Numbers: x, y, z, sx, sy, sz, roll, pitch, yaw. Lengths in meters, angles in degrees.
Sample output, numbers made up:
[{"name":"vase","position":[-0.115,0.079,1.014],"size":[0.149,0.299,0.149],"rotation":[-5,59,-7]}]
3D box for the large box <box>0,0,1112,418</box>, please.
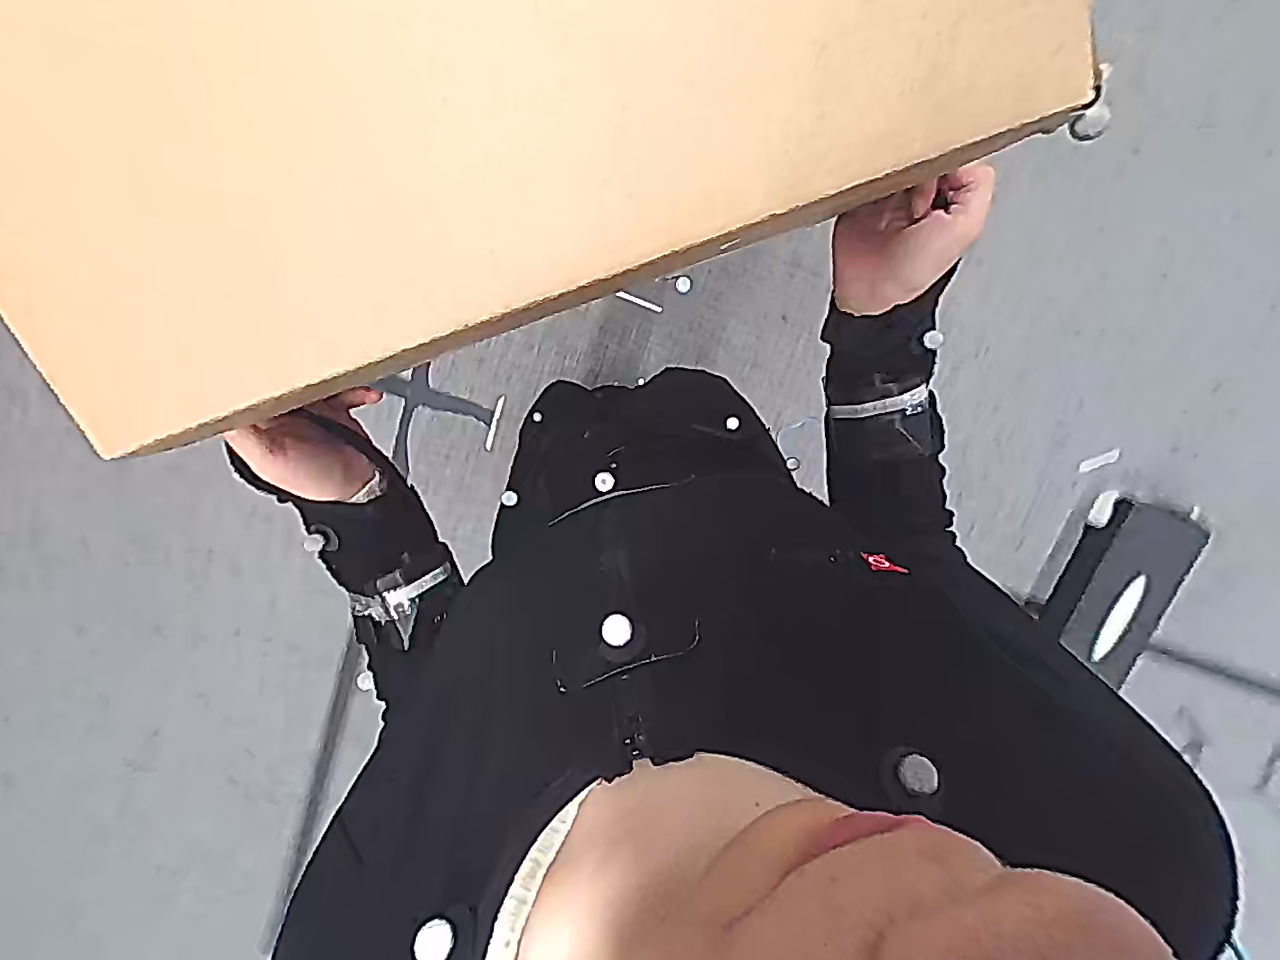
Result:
[{"name":"large box","position":[-0.081,-0.266,0.292],"size":[0.408,0.320,0.320],"rotation":[-19,109,2]}]
